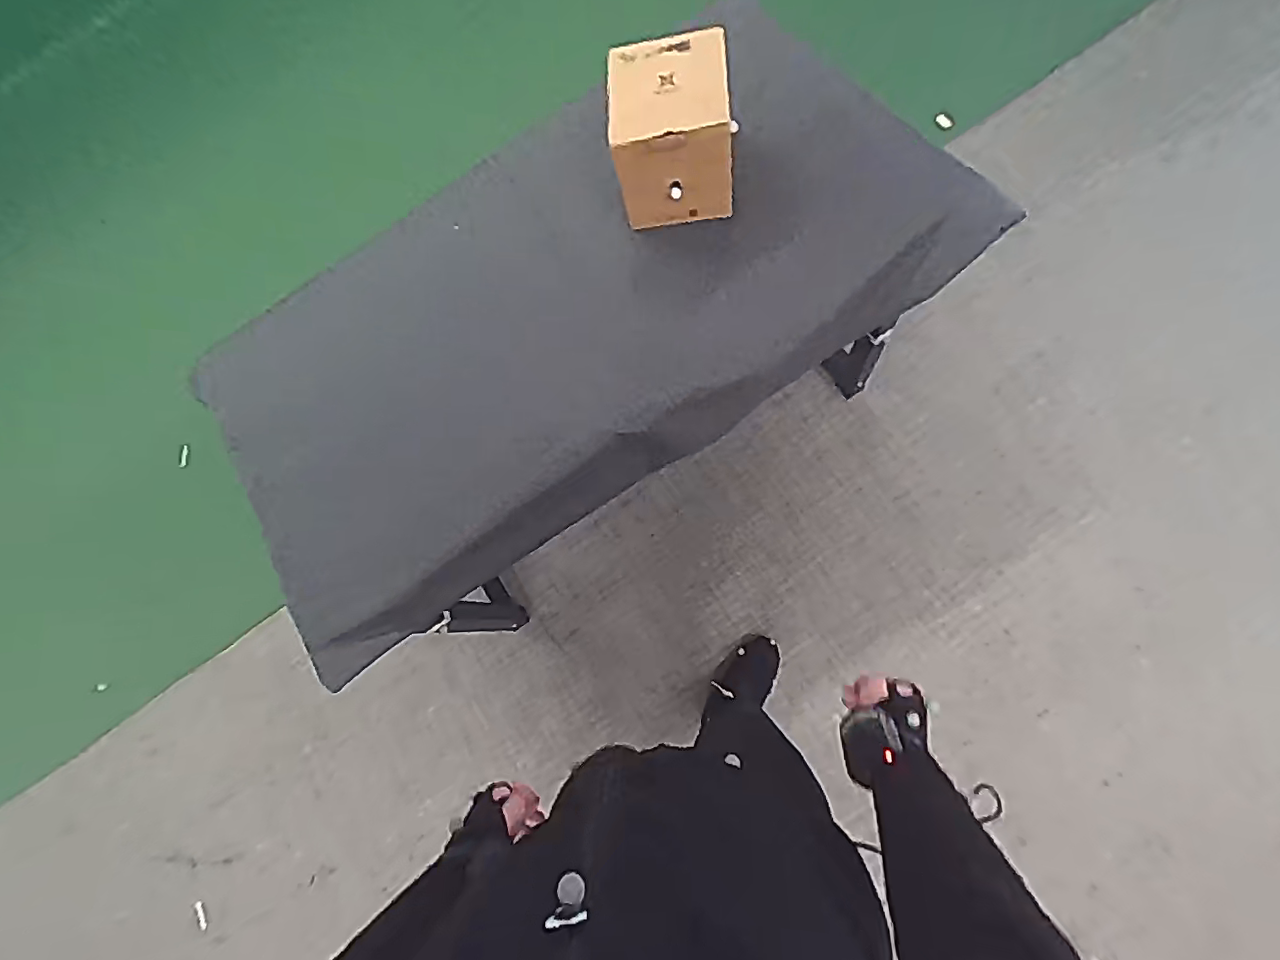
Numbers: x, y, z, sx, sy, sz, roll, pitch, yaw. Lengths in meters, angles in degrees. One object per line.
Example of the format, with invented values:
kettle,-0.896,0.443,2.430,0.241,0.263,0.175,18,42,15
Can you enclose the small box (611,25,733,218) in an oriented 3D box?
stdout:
small box,0.054,-0.524,0.818,0.168,0.176,0.179,-3,76,9
